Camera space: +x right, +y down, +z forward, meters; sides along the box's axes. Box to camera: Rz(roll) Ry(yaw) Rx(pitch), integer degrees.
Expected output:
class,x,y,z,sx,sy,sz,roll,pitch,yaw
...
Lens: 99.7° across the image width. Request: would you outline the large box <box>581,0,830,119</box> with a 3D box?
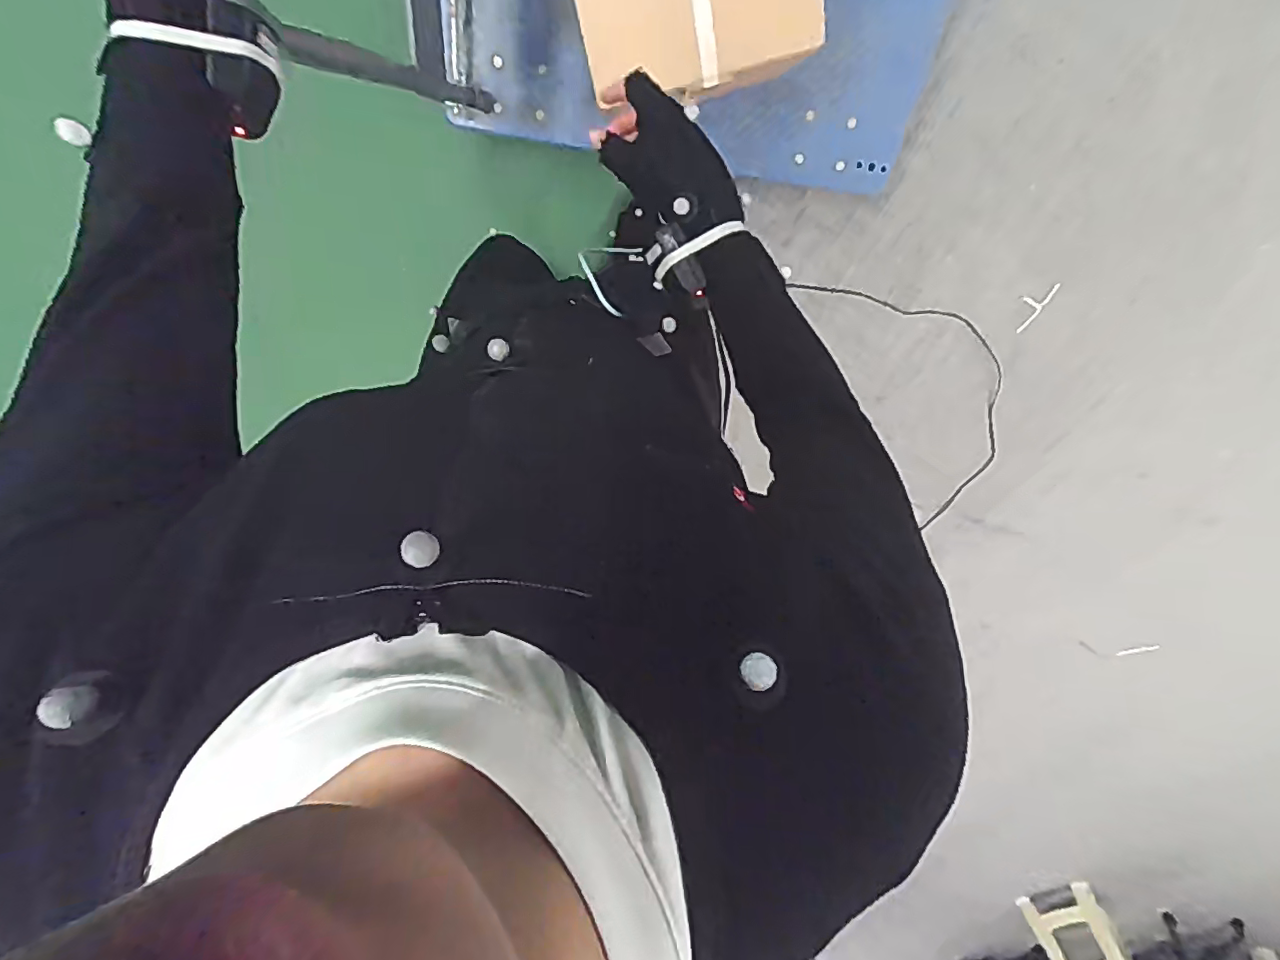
class,x,y,z,sx,sy,sz,roll,pitch,yaw
large box,0.064,-0.794,0.766,0.320,0.320,0.408,-10,119,7
